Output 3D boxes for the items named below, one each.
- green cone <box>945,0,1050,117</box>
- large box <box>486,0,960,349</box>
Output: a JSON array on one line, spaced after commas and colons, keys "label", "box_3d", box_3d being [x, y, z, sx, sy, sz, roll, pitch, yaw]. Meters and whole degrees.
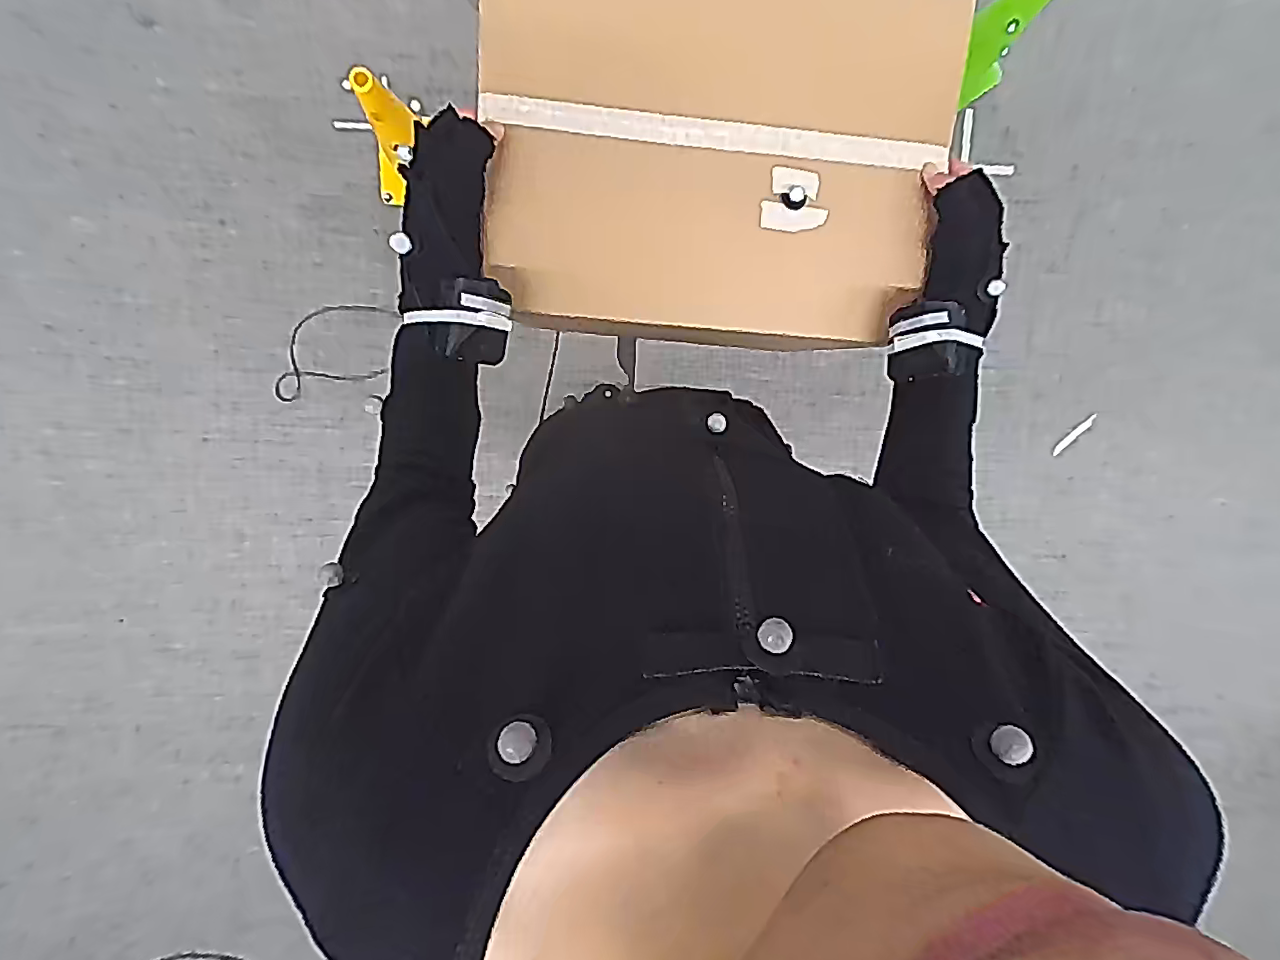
[{"label": "green cone", "box_3d": [0.814, -1.025, 1.198, 0.202, 0.368, 0.200, -36, 101, 0]}, {"label": "large box", "box_3d": [0.055, -0.323, 0.613, 0.408, 0.320, 0.320, 3, 102, -6]}]
